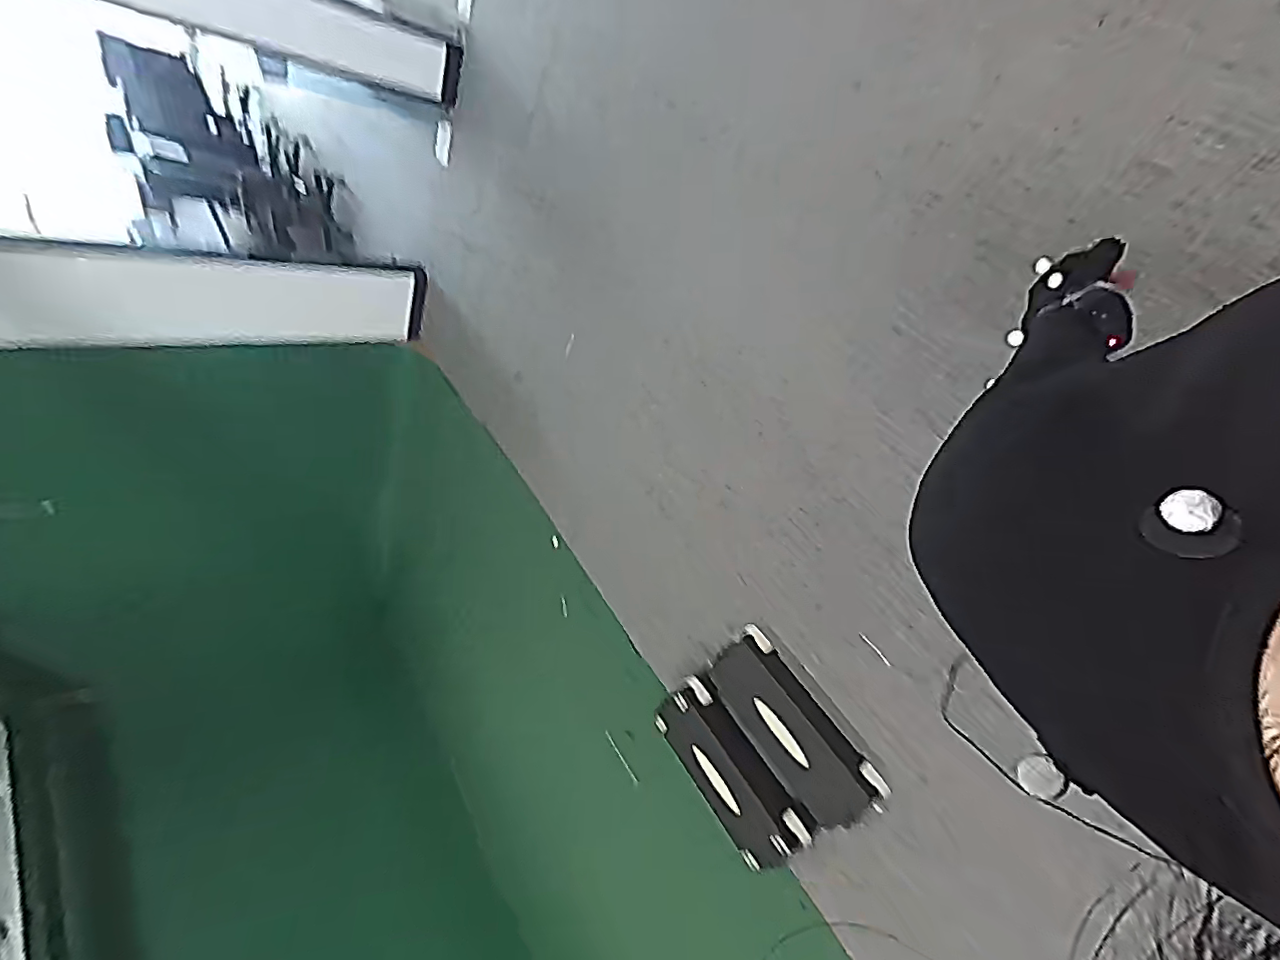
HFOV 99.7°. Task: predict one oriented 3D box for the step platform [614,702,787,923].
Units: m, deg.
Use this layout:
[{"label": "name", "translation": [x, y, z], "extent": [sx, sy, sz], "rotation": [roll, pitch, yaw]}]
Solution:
[{"label": "step platform", "translation": [0.202, 1.163, 1.945], "extent": [0.684, 0.204, 0.286], "rotation": [50, 131, 24]}]
